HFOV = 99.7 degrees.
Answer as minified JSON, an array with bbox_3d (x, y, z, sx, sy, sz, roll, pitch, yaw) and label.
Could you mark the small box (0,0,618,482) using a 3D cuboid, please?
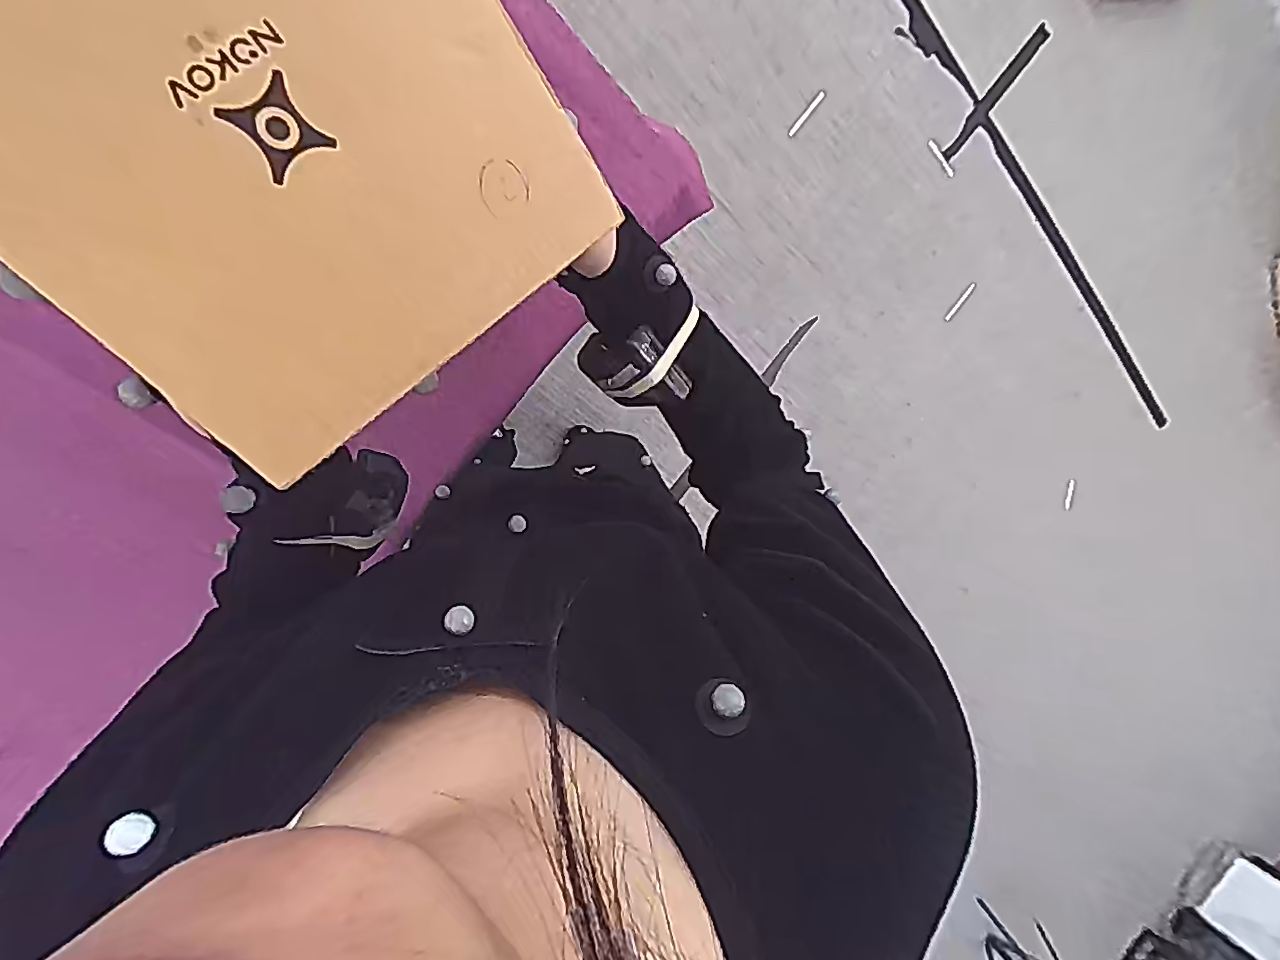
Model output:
[{"bbox_3d":[-0.143,-0.132,0.233,0.168,0.176,0.179,-41,117,-8],"label":"small box"}]
